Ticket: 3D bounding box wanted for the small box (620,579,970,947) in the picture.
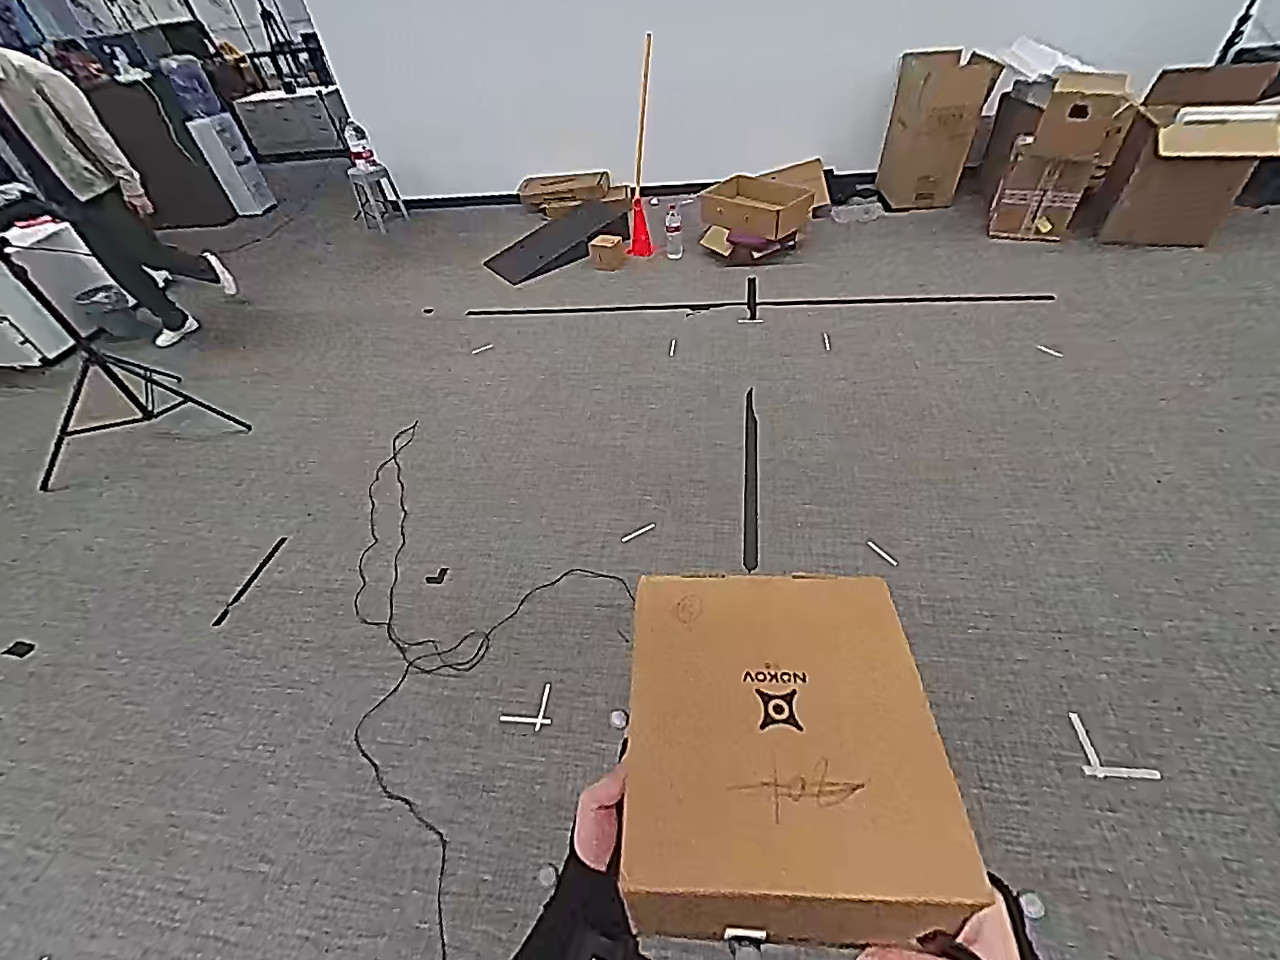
[{"bbox_3d":[0.078,0.188,0.367,0.168,0.176,0.179,-1,44,4],"label":"small box"}]
